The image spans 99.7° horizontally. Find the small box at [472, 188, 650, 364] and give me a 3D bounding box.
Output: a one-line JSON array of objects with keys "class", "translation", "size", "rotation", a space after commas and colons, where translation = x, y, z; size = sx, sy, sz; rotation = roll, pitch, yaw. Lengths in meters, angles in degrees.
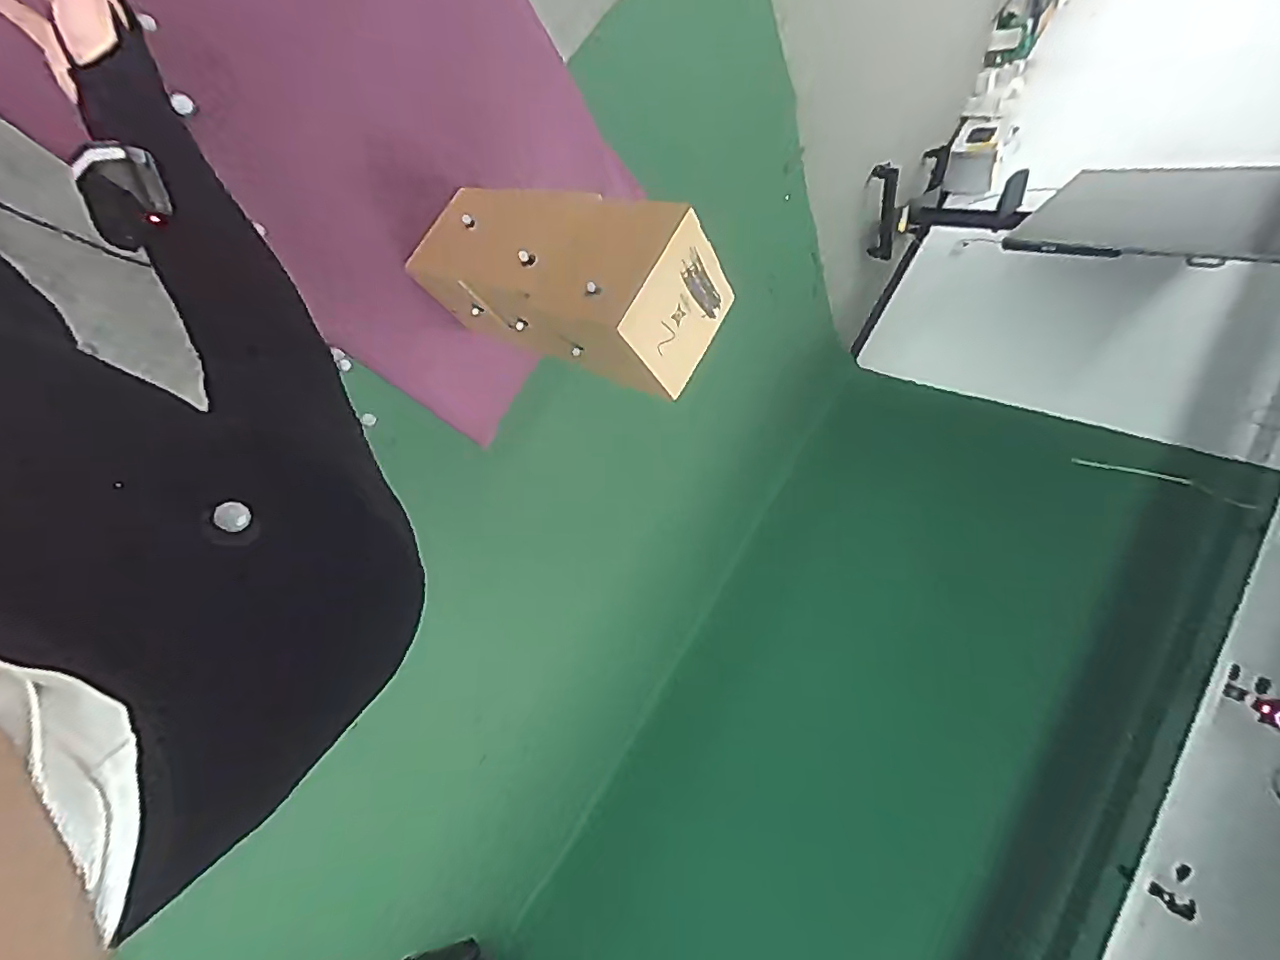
[{"class": "small box", "translation": [-0.122, -0.306, 0.811], "size": [0.179, 0.176, 0.168], "rotation": [-58, 145, -10]}]

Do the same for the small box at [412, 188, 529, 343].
[{"class": "small box", "translation": [-0.244, -0.362, 0.906], "size": [0.179, 0.176, 0.168], "rotation": [-60, 144, -9]}]
